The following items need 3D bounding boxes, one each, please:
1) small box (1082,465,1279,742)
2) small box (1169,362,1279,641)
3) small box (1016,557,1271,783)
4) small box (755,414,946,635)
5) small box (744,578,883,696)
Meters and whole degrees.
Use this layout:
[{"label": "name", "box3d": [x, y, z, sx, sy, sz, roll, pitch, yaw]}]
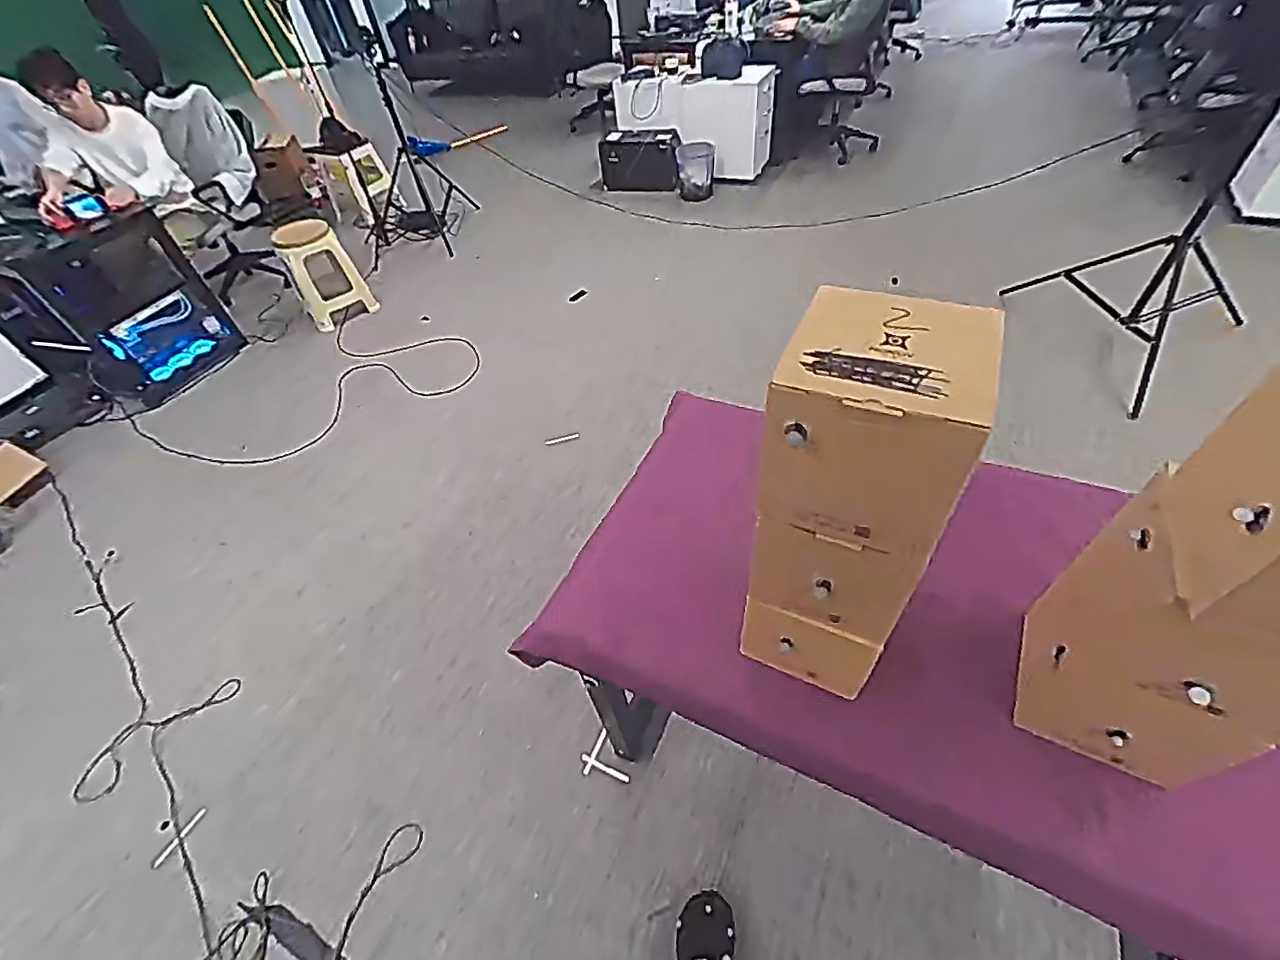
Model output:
[{"label": "small box", "box3d": [0.577, 0.120, 0.537, 0.168, 0.176, 0.179, 19, 54, 23]}, {"label": "small box", "box3d": [0.554, 0.028, 0.403, 0.168, 0.176, 0.179, 17, 52, 20]}, {"label": "small box", "box3d": [0.587, 0.232, 0.657, 0.168, 0.176, 0.179, 20, 53, 22]}, {"label": "small box", "box3d": [0.239, 0.054, 0.640, 0.168, 0.176, 0.179, 16, 51, 20]}, {"label": "small box", "box3d": [0.251, 0.170, 0.756, 0.168, 0.176, 0.179, 18, 52, 21]}]
